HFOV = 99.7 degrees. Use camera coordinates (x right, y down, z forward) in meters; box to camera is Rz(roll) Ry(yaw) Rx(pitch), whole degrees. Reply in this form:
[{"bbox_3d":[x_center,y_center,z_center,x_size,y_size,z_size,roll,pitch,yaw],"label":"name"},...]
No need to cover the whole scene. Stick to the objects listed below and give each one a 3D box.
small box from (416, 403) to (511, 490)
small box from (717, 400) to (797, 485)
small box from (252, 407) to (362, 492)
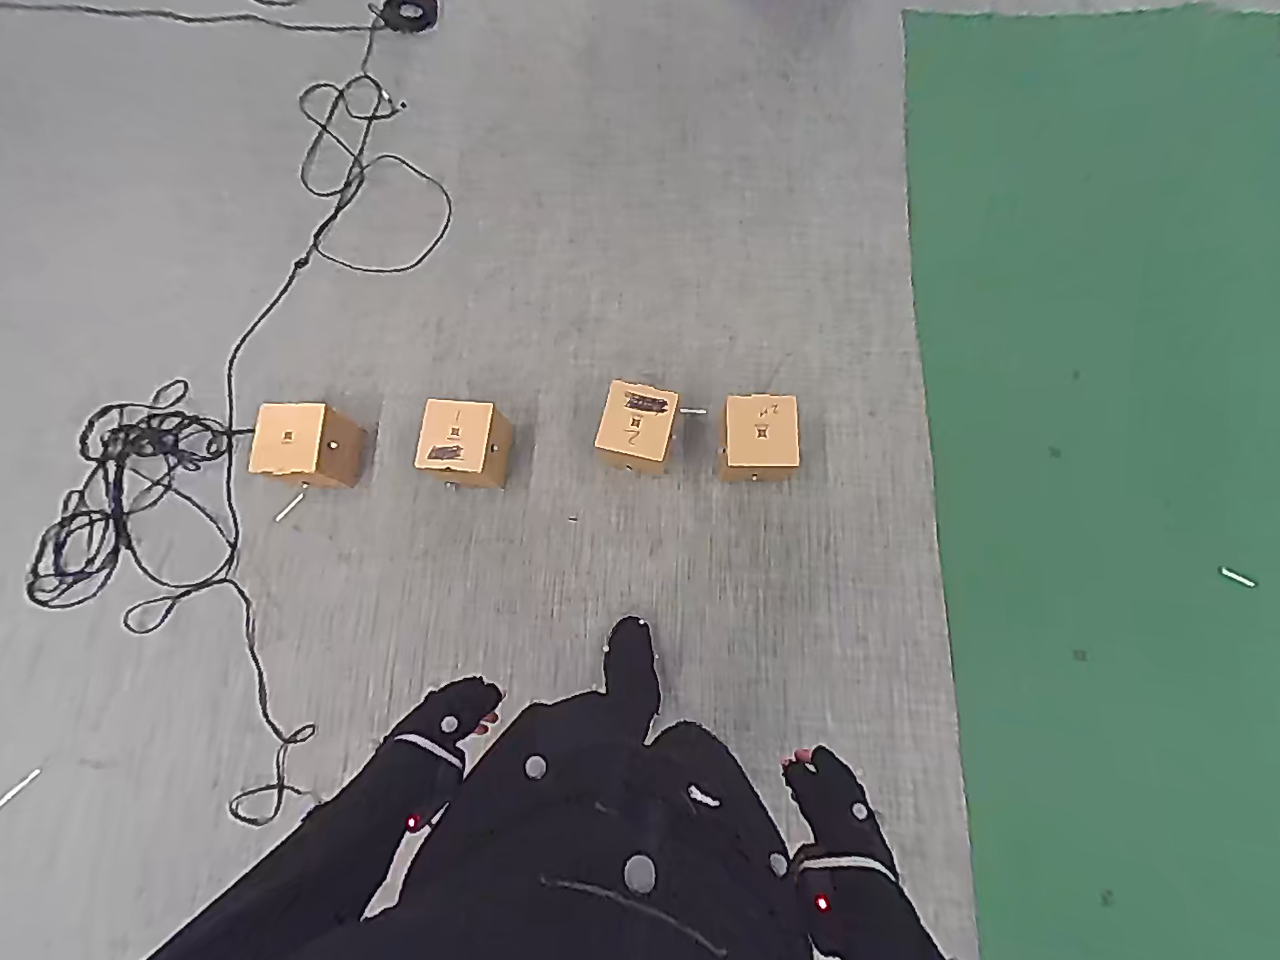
[{"bbox_3d":[-0.434,-0.078,1.362,0.168,0.176,0.179,5,76,4],"label":"small box"},{"bbox_3d":[0.284,-0.087,1.336,0.168,0.176,0.179,1,77,1],"label":"small box"},{"bbox_3d":[-0.837,-0.074,1.380,0.168,0.176,0.179,0,77,3],"label":"small box"}]
